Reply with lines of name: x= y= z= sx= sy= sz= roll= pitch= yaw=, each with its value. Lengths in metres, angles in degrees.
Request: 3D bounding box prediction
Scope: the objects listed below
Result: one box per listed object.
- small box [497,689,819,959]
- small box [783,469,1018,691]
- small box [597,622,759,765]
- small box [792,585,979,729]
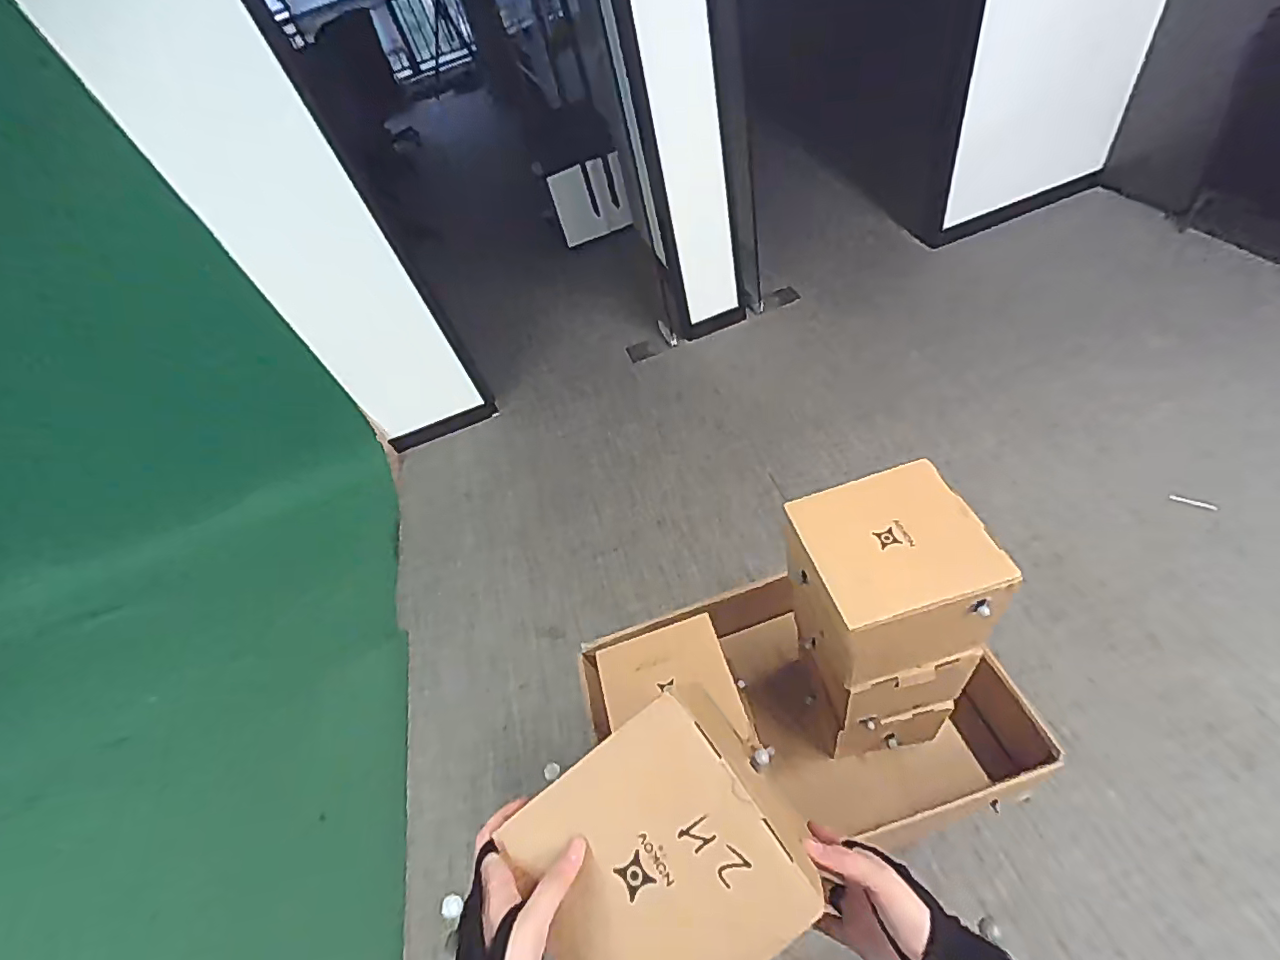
small box: x=0.023 y=0.295 z=0.446 sx=0.179 sy=0.176 sz=0.168 roll=-38 pitch=67 yaw=-2
small box: x=0.282 y=0.121 z=0.627 sx=0.179 sy=0.176 sz=0.168 roll=-18 pitch=48 yaw=1
small box: x=0.056 y=0.328 z=0.738 sx=0.168 sy=0.176 sz=0.179 roll=-19 pitch=47 yaw=0
small box: x=0.323 y=0.223 z=0.747 sx=0.168 sy=0.176 sz=0.179 roll=-18 pitch=47 yaw=2
